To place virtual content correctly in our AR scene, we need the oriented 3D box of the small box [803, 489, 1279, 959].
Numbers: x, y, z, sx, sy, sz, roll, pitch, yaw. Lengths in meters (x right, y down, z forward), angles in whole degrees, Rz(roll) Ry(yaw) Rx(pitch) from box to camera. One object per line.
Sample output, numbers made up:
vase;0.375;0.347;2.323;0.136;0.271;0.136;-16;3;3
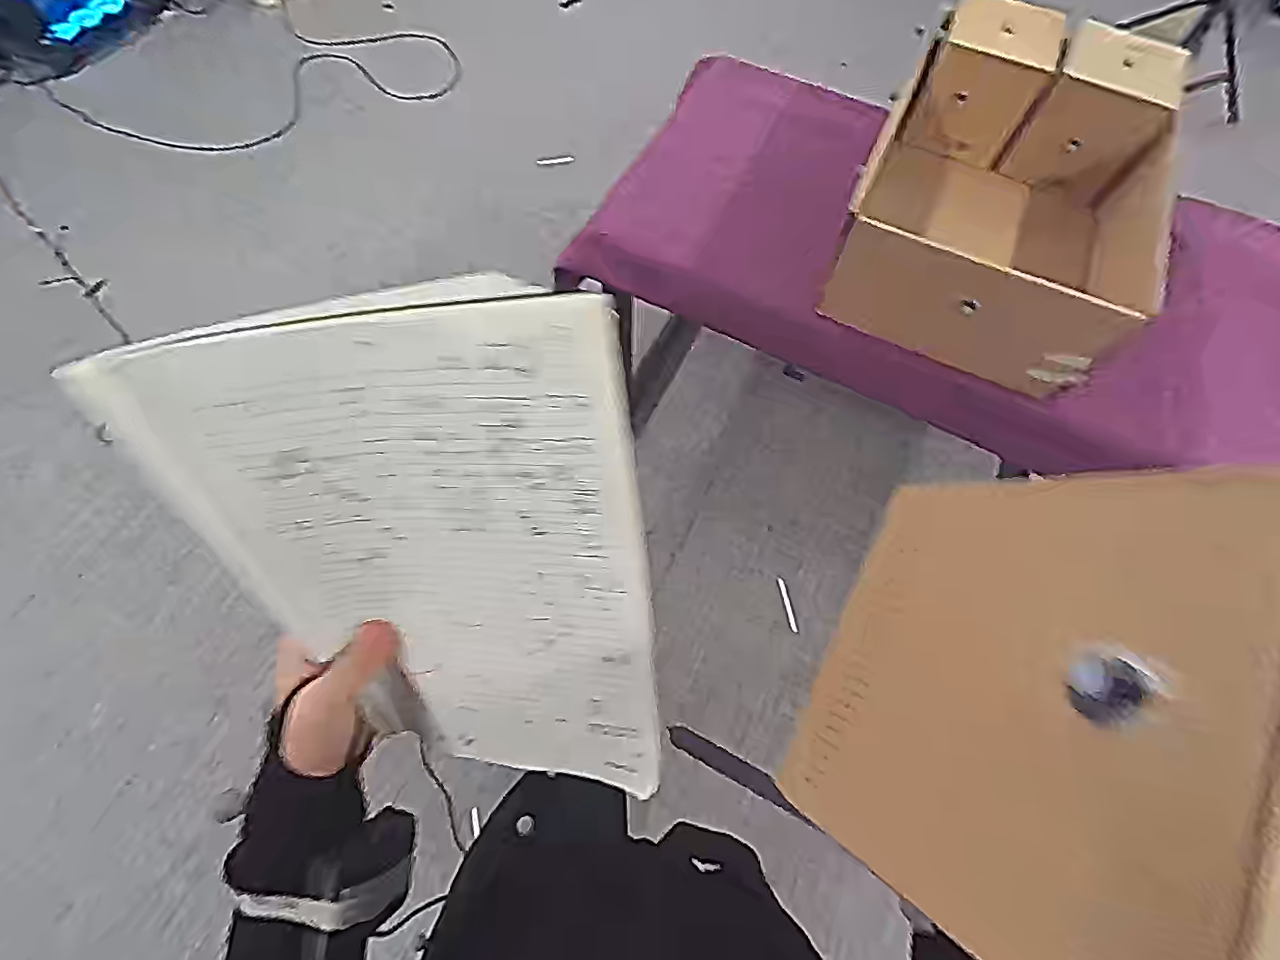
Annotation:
small box;0.202;0.115;0.229;0.168;0.176;0.179;32;77;-14
